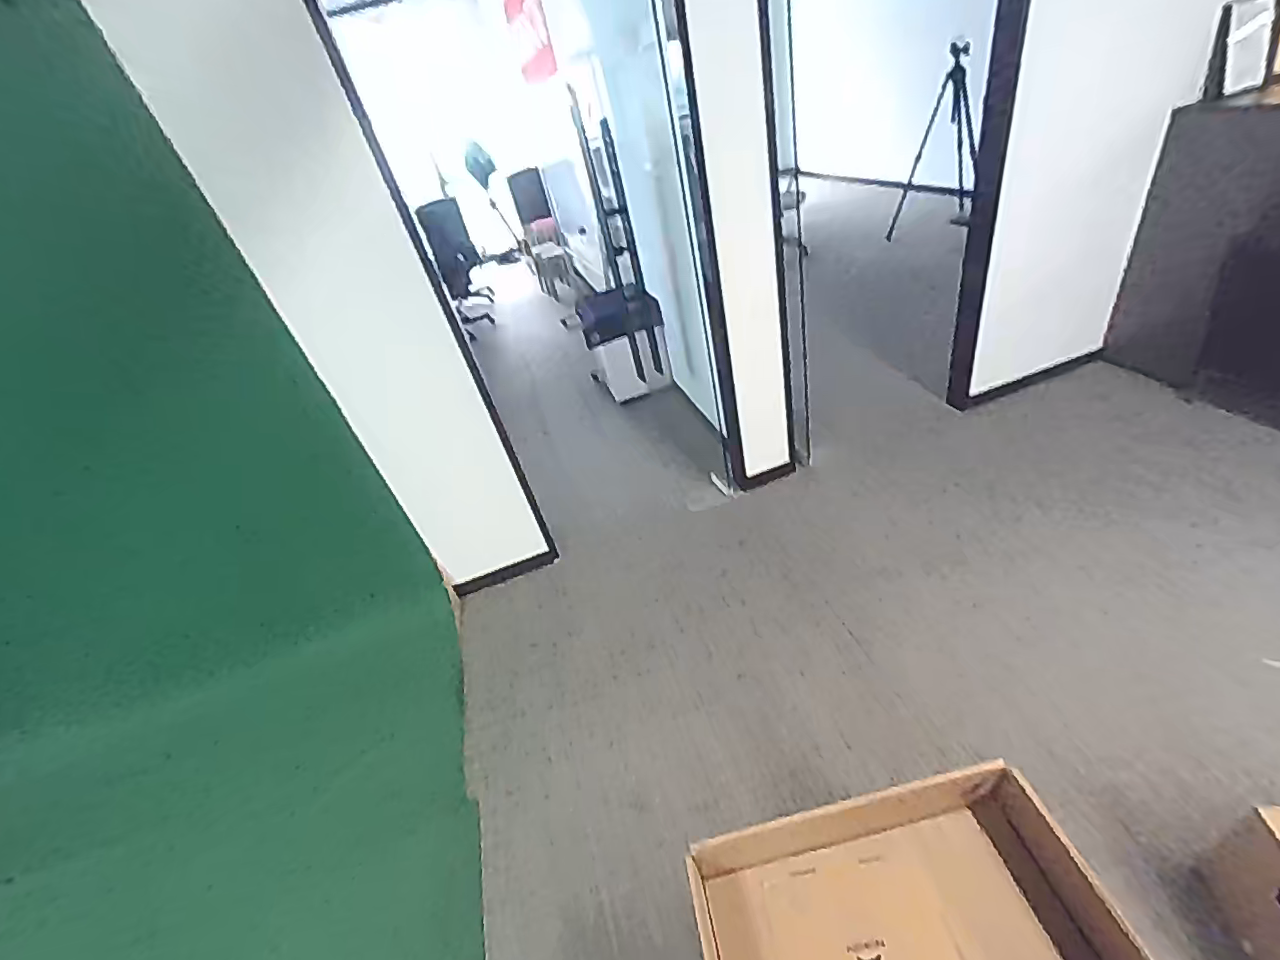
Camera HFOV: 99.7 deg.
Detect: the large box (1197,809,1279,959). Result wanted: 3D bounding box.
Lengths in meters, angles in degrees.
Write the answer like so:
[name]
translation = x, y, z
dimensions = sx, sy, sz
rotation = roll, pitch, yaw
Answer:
[large box]
translation = 1.391, 0.825, 0.971
dimensions = 0.408, 0.320, 0.320
rotation = -6, 36, 14
